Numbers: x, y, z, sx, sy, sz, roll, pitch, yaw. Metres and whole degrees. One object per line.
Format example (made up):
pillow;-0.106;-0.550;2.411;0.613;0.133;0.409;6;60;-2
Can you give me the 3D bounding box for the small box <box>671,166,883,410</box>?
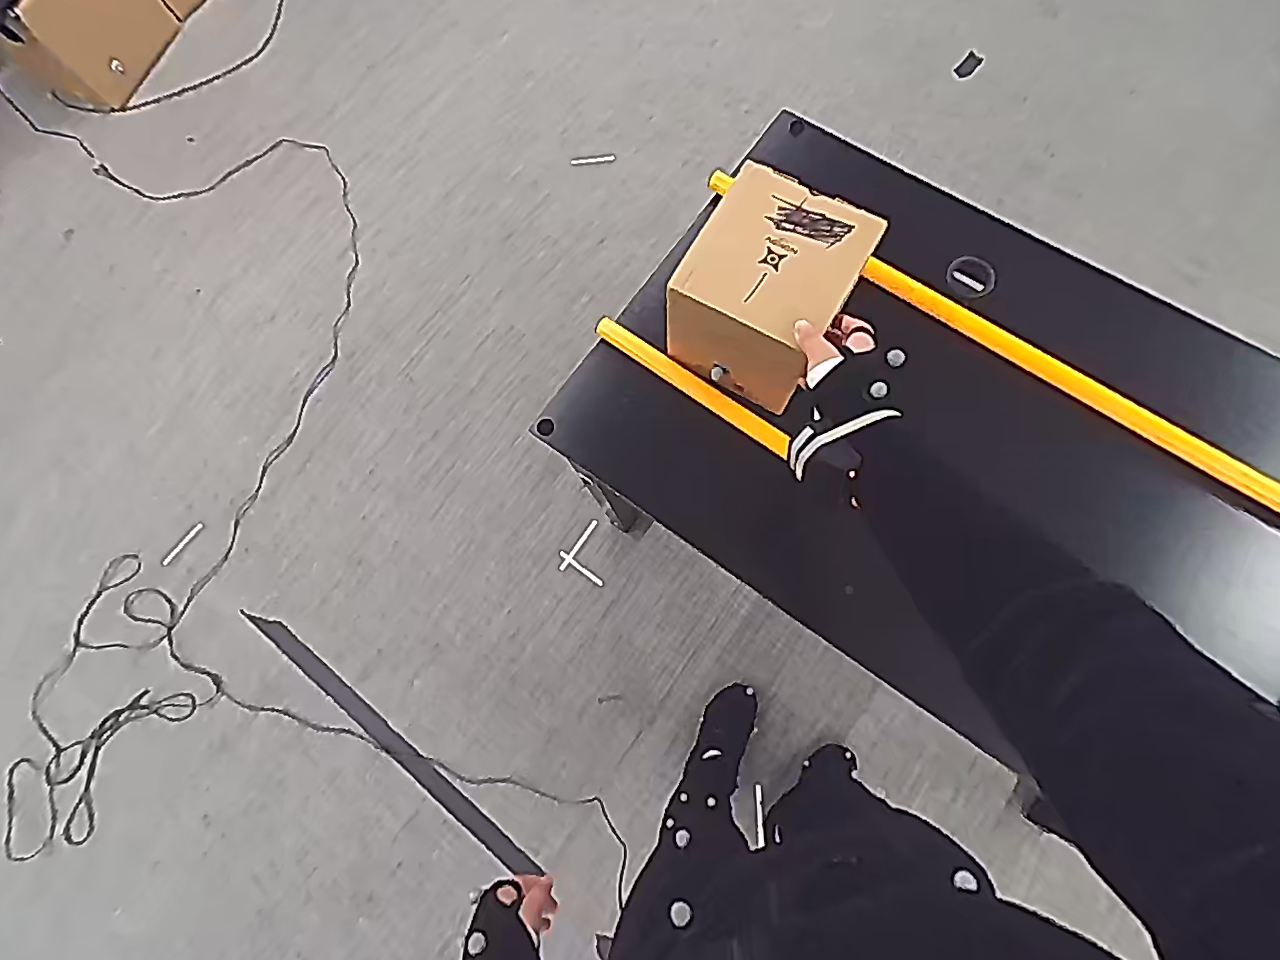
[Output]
small box;0.146;-0.214;0.639;0.168;0.176;0.179;30;81;10
